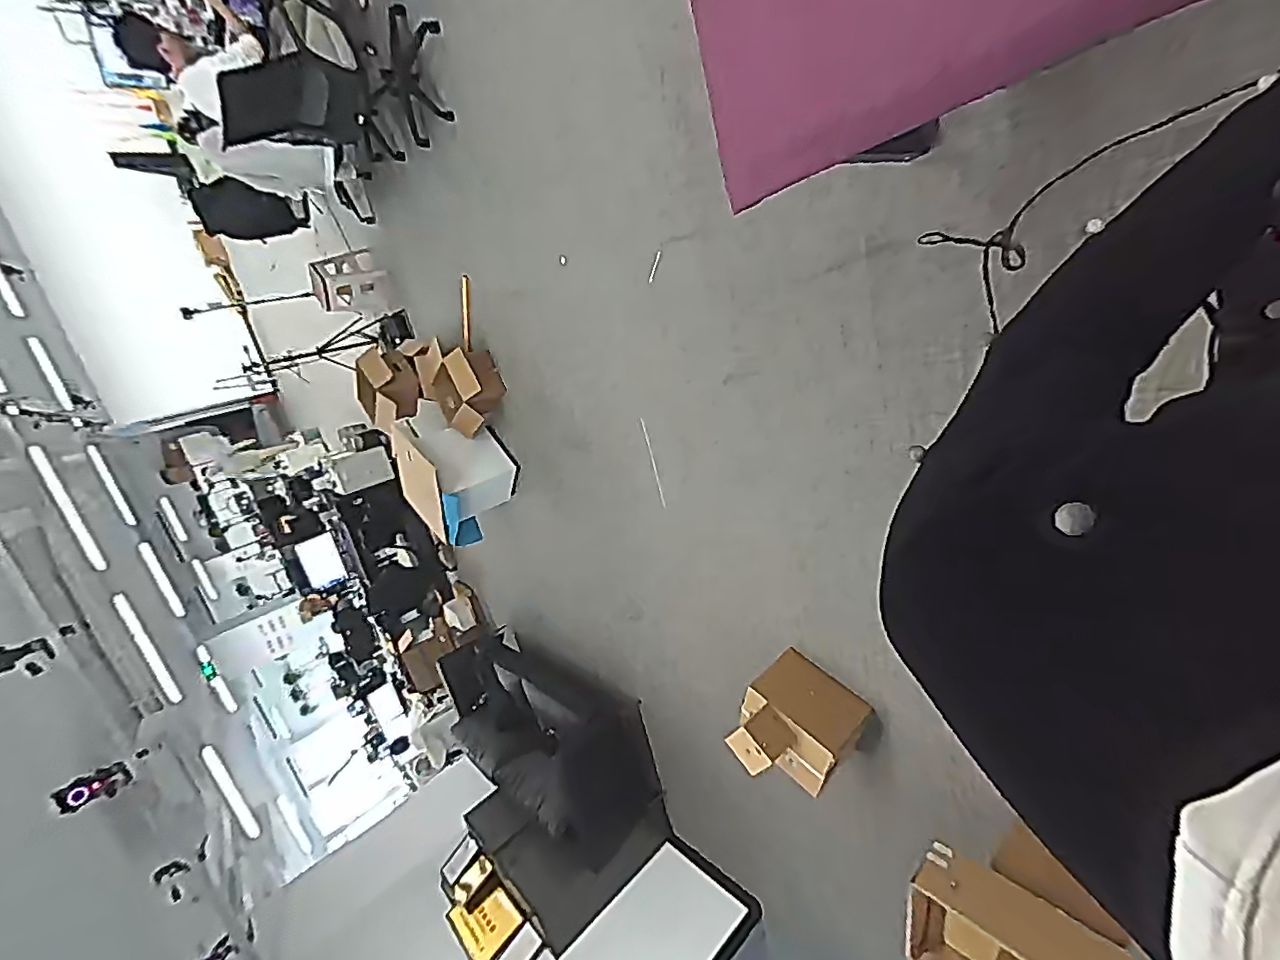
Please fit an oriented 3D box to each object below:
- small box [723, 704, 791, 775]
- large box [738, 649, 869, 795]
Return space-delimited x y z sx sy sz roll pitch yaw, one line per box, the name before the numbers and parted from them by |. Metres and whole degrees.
small box | 0.467 1.028 2.147 0.168 0.176 0.179 48 140 22
large box | 0.680 1.005 2.288 0.408 0.320 0.320 31 133 35
